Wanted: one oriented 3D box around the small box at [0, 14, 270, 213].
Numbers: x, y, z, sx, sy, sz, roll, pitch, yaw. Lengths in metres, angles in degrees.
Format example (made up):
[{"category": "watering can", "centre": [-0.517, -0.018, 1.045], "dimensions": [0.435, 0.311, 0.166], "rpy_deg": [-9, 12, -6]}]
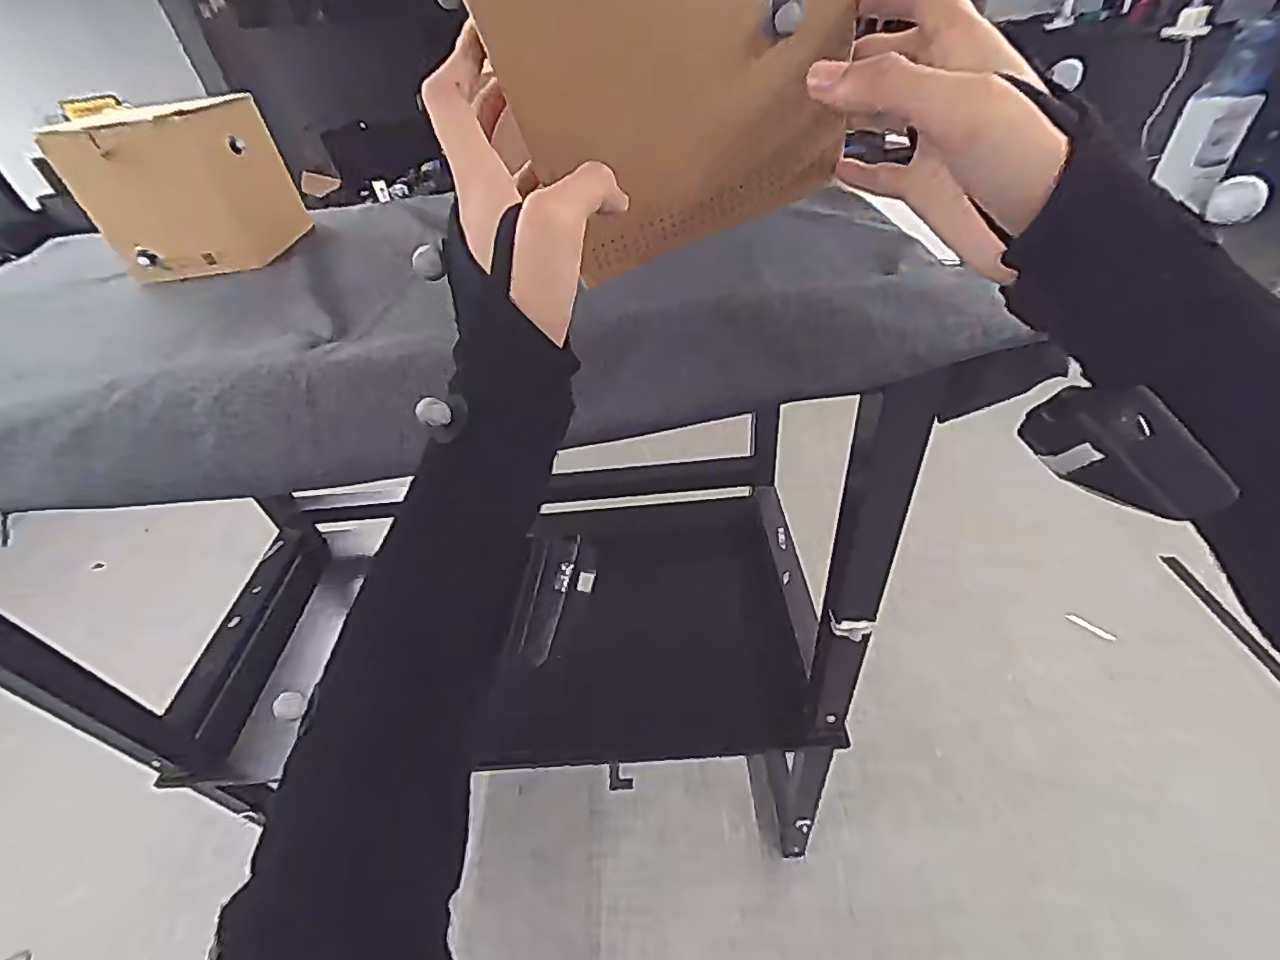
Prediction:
[{"category": "small box", "centre": [-0.590, -0.432, 0.646], "dimensions": [0.168, 0.176, 0.179], "rpy_deg": [-8, 42, 0]}]
